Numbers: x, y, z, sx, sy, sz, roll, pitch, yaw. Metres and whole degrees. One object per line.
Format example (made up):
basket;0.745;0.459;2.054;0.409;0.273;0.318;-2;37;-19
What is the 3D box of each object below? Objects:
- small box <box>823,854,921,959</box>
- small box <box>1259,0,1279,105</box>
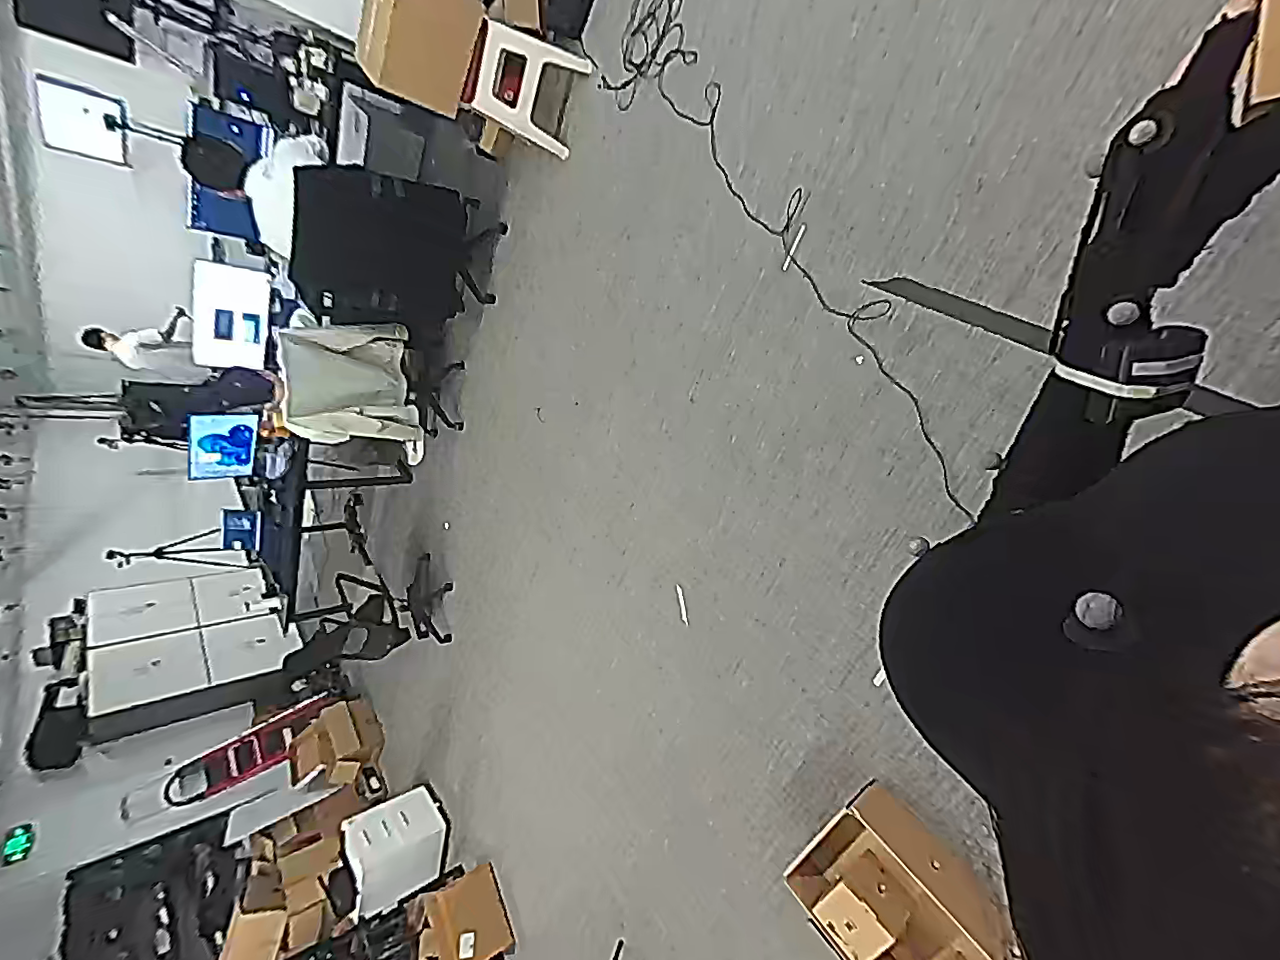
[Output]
small box;0.649;1.195;1.500;0.168;0.176;0.179;42;120;32
small box;0.428;-0.305;0.248;0.179;0.176;0.168;5;112;46
